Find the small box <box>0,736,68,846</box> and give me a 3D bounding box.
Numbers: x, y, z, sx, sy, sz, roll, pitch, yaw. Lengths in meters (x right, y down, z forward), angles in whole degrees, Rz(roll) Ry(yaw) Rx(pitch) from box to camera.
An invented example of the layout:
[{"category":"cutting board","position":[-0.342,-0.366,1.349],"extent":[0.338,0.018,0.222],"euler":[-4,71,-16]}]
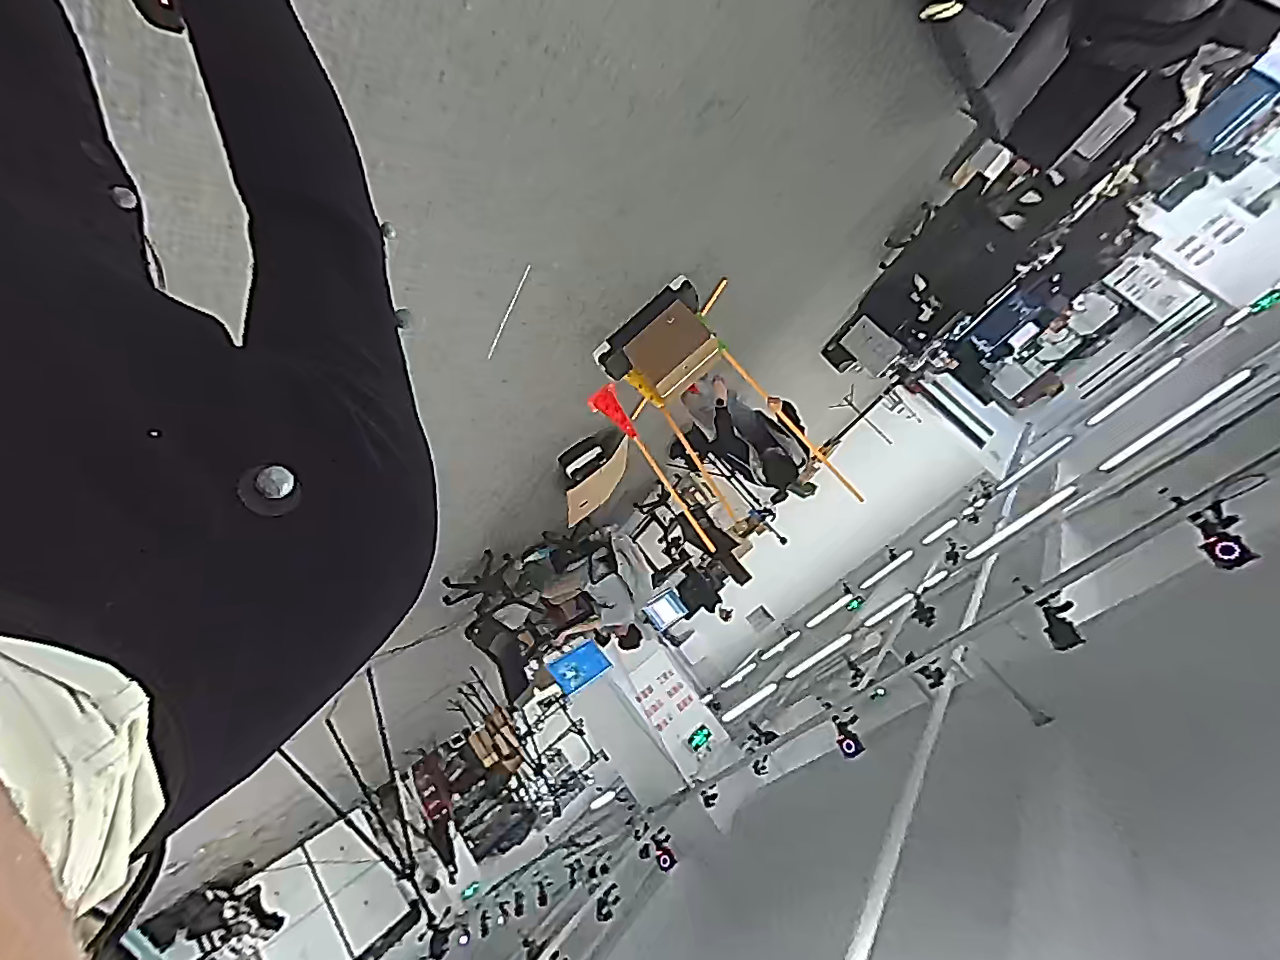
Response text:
[{"category":"small box","position":[-1.480,0.731,1.256],"extent":[0.168,0.176,0.179],"euler":[-20,156,-49]}]
